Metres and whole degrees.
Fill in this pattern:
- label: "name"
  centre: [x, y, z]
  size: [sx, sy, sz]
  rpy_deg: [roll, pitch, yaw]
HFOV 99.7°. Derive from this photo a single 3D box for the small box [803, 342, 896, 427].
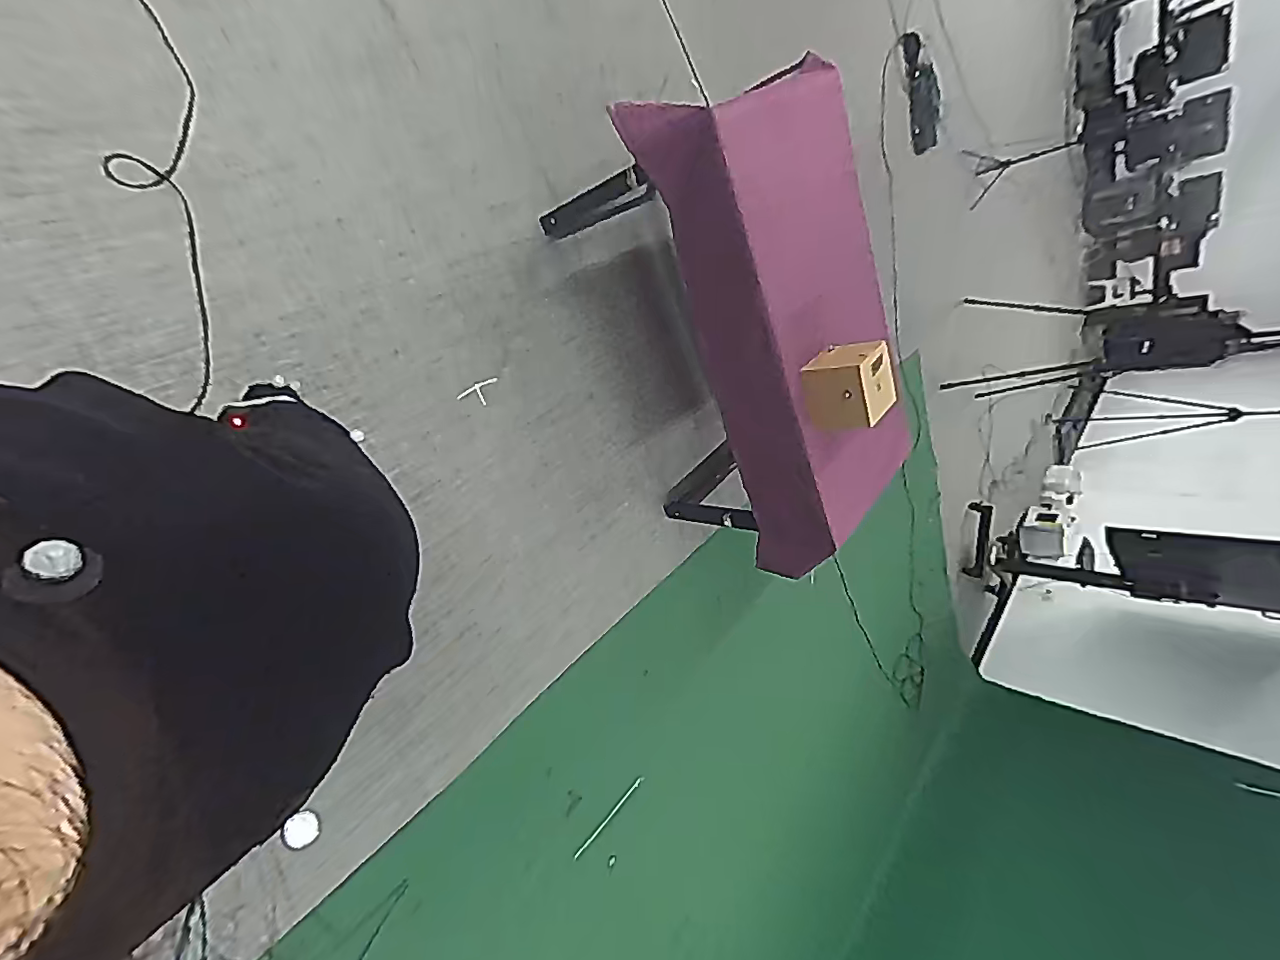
- label: "small box"
  centre: [0.559, -0.251, 1.451]
  size: [0.168, 0.176, 0.179]
  rpy_deg: [-38, 118, -33]
